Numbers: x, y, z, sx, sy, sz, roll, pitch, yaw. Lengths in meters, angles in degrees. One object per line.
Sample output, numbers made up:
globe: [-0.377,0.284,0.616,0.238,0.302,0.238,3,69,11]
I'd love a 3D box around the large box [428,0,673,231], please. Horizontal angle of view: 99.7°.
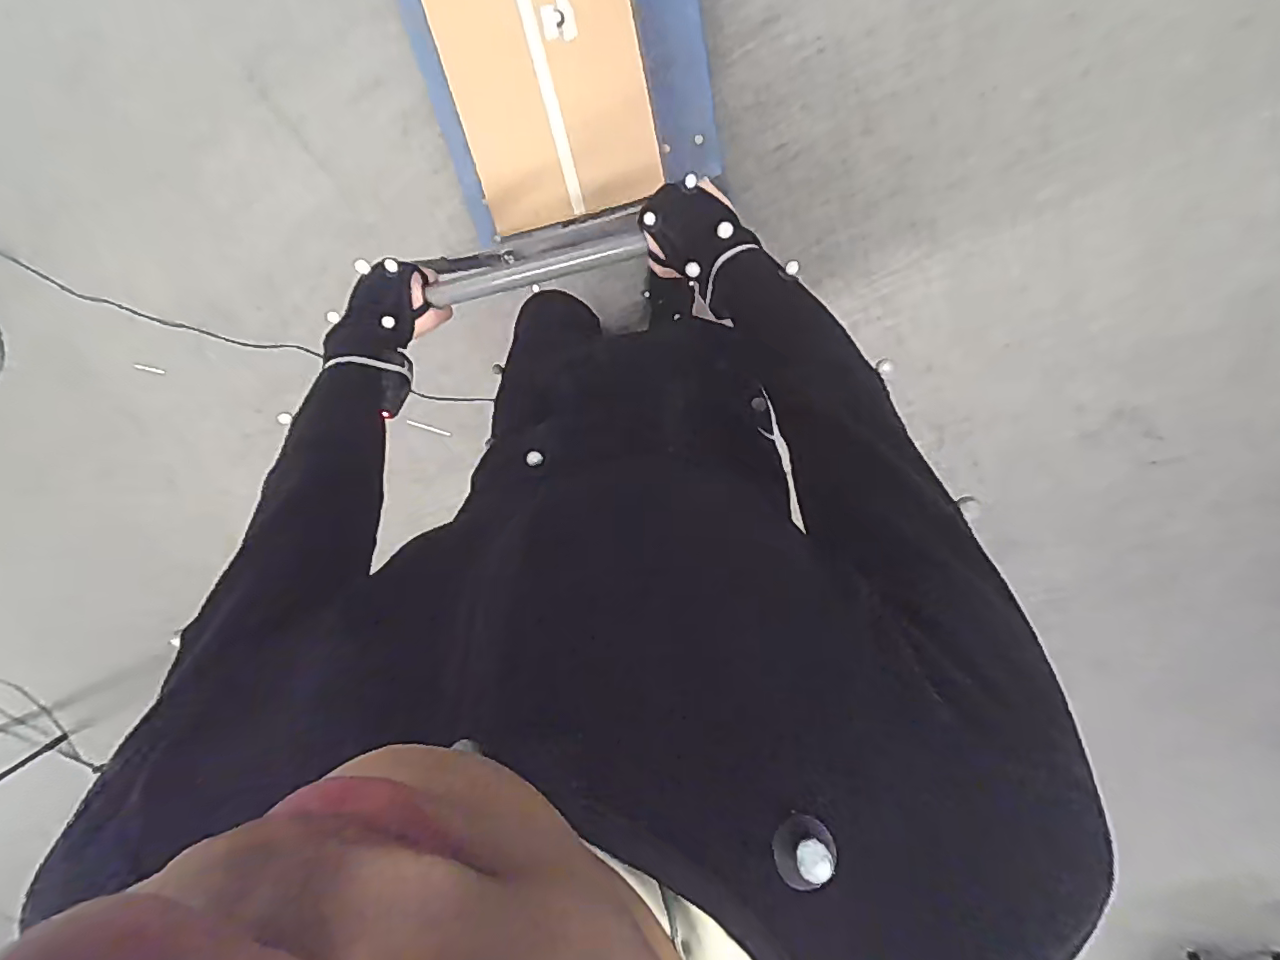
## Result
large box: [-0.132,-0.713,0.995,0.320,0.320,0.408,-10,116,10]
